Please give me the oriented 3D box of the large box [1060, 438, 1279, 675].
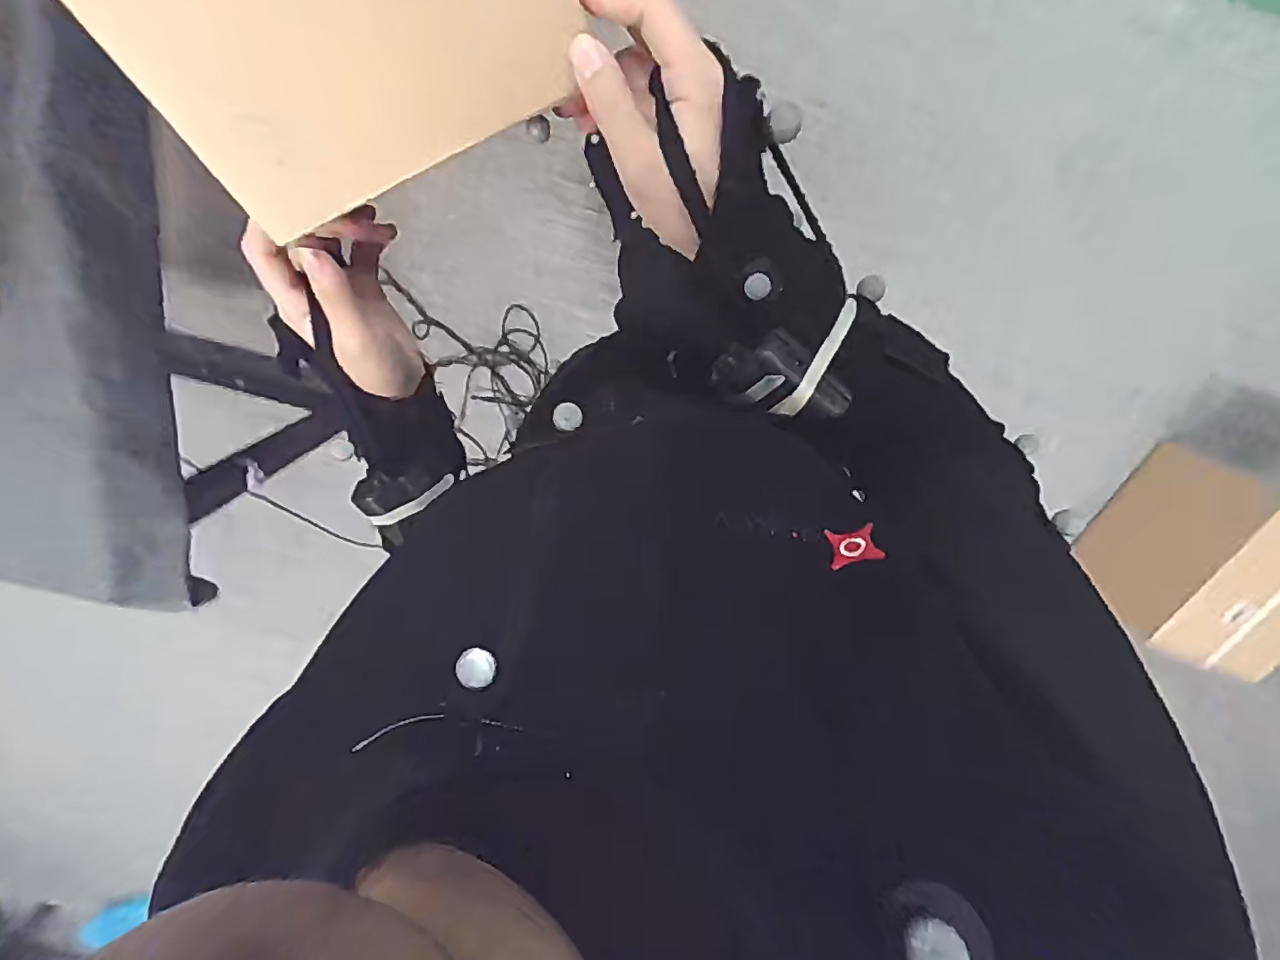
[{"bbox_3d":[1.338,0.169,1.272,0.320,0.320,0.408,20,114,-7],"label":"large box"}]
